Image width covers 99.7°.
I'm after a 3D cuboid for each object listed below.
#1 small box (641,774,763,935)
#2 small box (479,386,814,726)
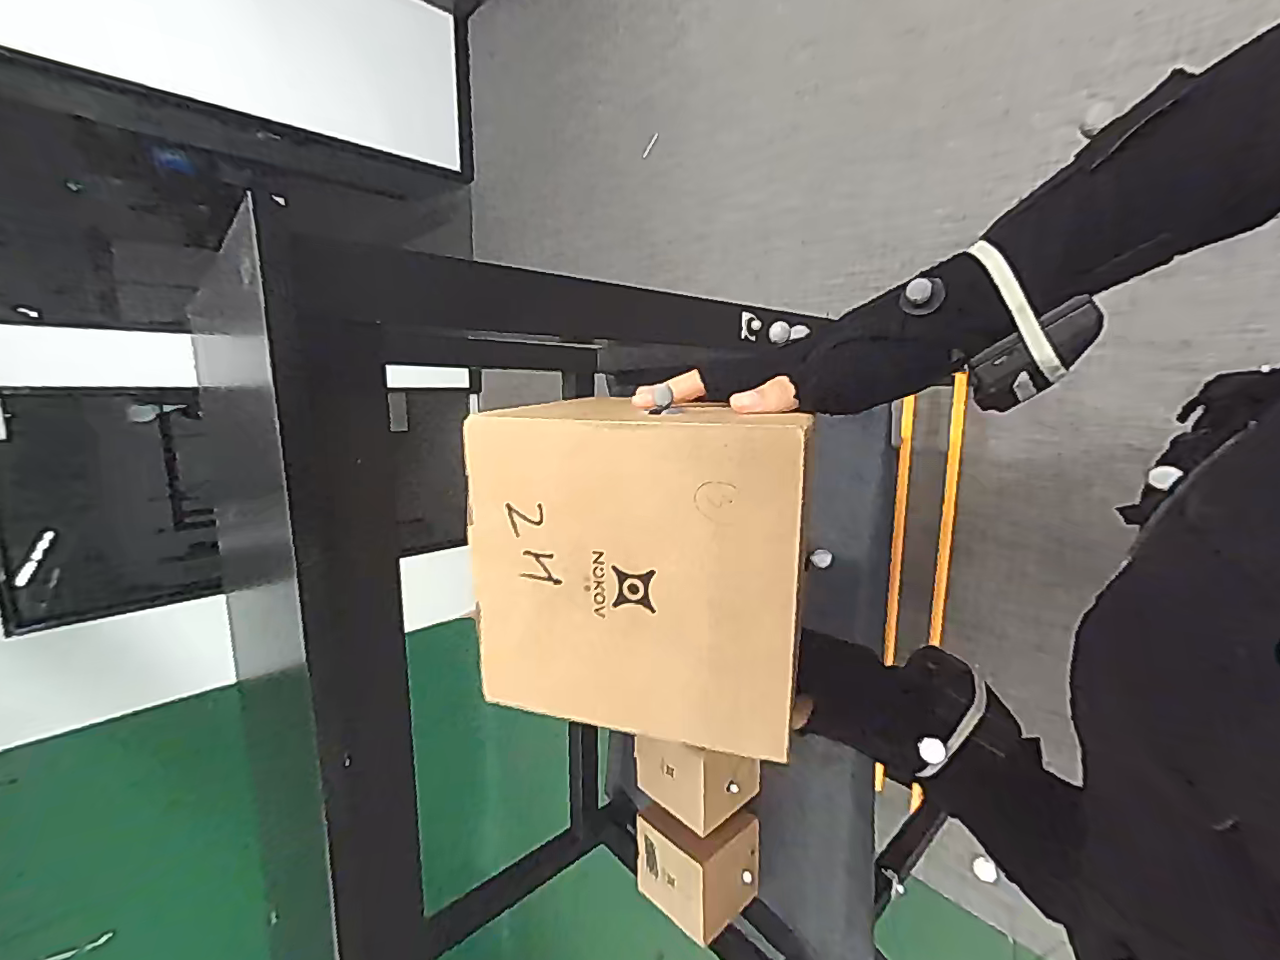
[{"bbox_3d":[0.121,0.718,1.066,0.179,0.176,0.168,7,101,48],"label":"small box"},{"bbox_3d":[0.019,0.025,0.359,0.179,0.176,0.168,5,103,19],"label":"small box"}]
